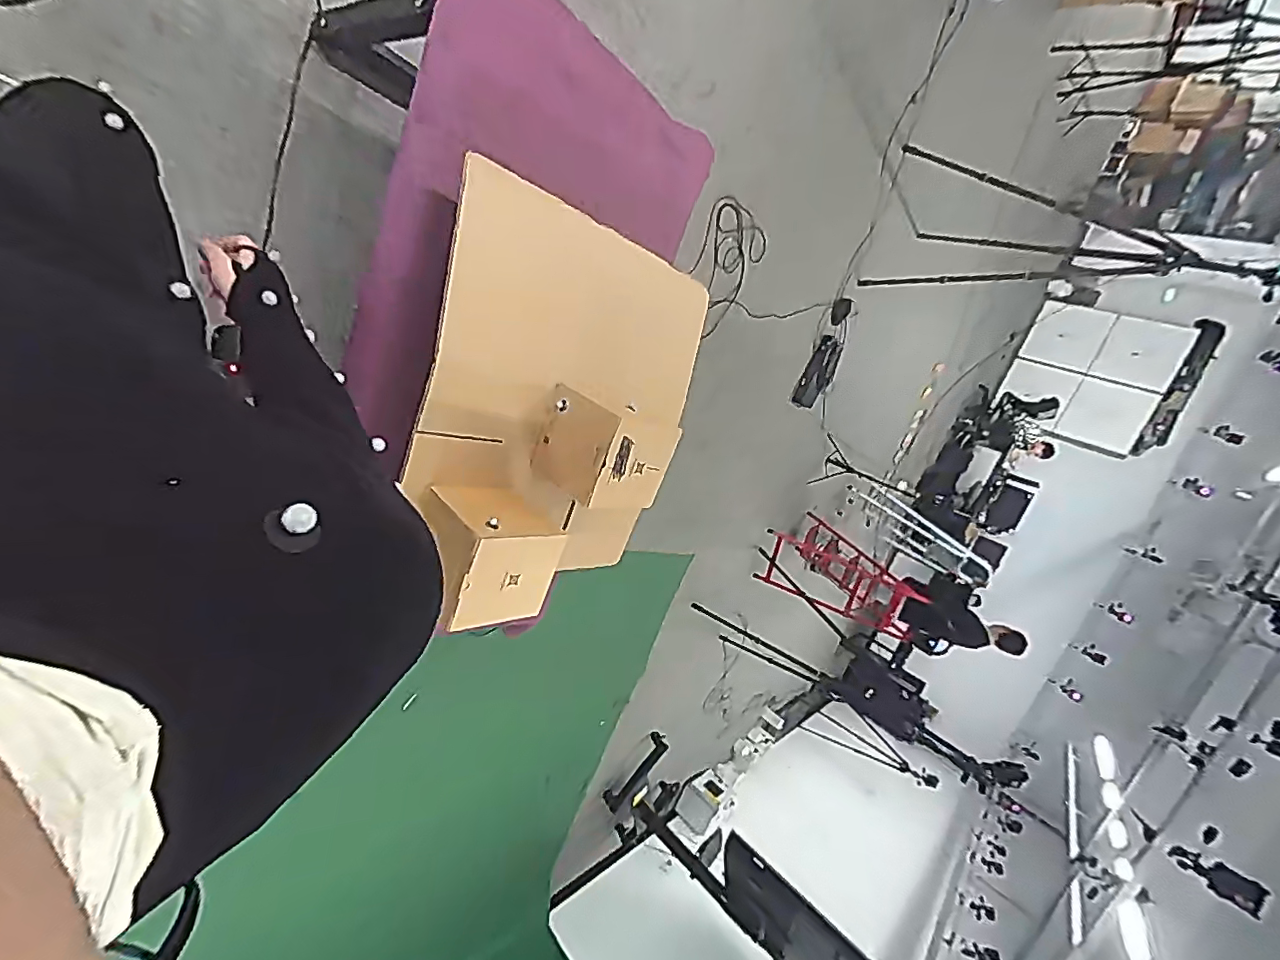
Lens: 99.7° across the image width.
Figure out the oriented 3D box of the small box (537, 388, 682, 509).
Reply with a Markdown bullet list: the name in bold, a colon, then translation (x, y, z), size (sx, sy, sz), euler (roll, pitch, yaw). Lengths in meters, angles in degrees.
- **small box**: translation (-0.060, -0.058, 0.990), size (0.179, 0.176, 0.168), euler (2, 115, -51)

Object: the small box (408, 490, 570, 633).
- **small box**: translation (-0.254, 0.125, 0.904), size (0.179, 0.176, 0.168), euler (3, 114, -50)
